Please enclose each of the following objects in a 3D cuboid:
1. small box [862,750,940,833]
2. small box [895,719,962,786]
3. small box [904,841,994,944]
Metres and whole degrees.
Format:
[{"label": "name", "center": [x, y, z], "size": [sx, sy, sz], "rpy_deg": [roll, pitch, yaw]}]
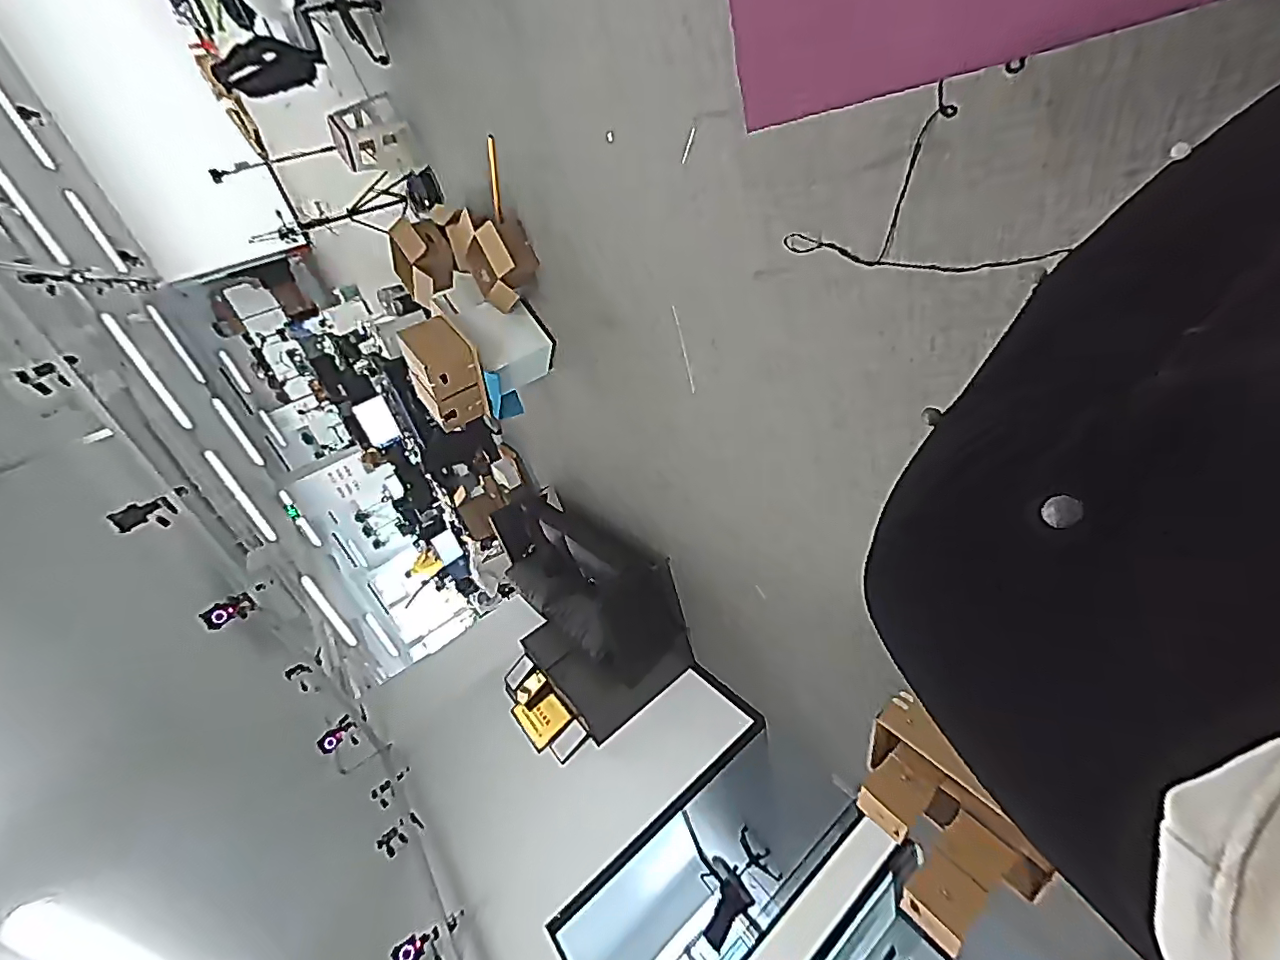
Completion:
[{"label": "small box", "center": [0.932, 1.107, 1.940], "size": [0.179, 0.176, 0.168], "rpy_deg": [37, 149, 42]}, {"label": "small box", "center": [1.059, 1.029, 2.006], "size": [0.168, 0.176, 0.179], "rpy_deg": [37, 149, 41]}, {"label": "small box", "center": [0.956, 1.269, 1.679], "size": [0.179, 0.176, 0.168], "rpy_deg": [32, 145, 45]}]
